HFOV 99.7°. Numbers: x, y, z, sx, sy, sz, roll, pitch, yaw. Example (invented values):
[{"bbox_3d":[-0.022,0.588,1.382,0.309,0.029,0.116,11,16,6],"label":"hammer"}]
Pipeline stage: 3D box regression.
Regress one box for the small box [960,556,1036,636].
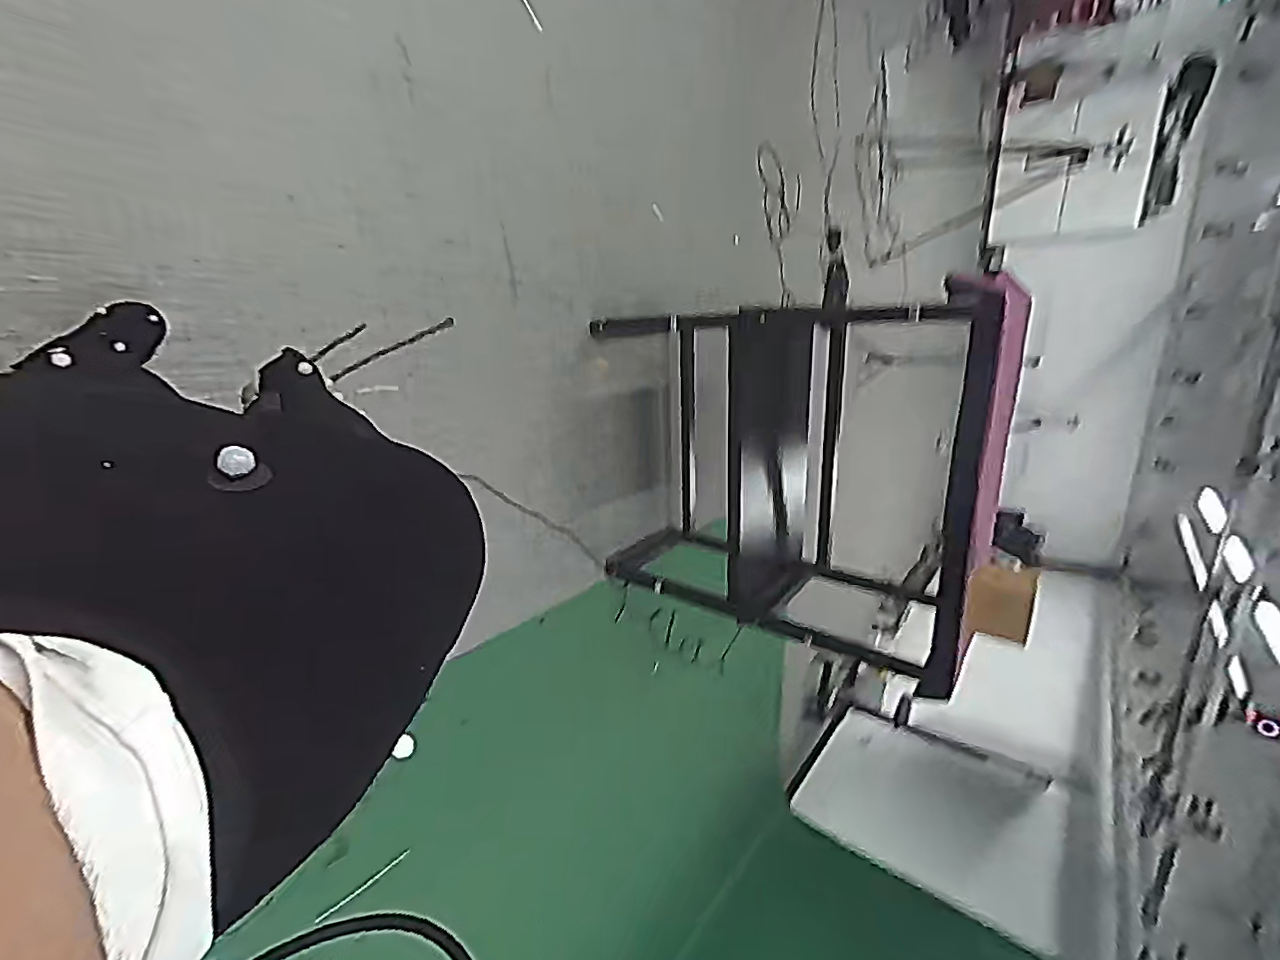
[{"bbox_3d":[1.081,0.340,1.637,0.168,0.176,0.179,-21,114,-47],"label":"small box"}]
